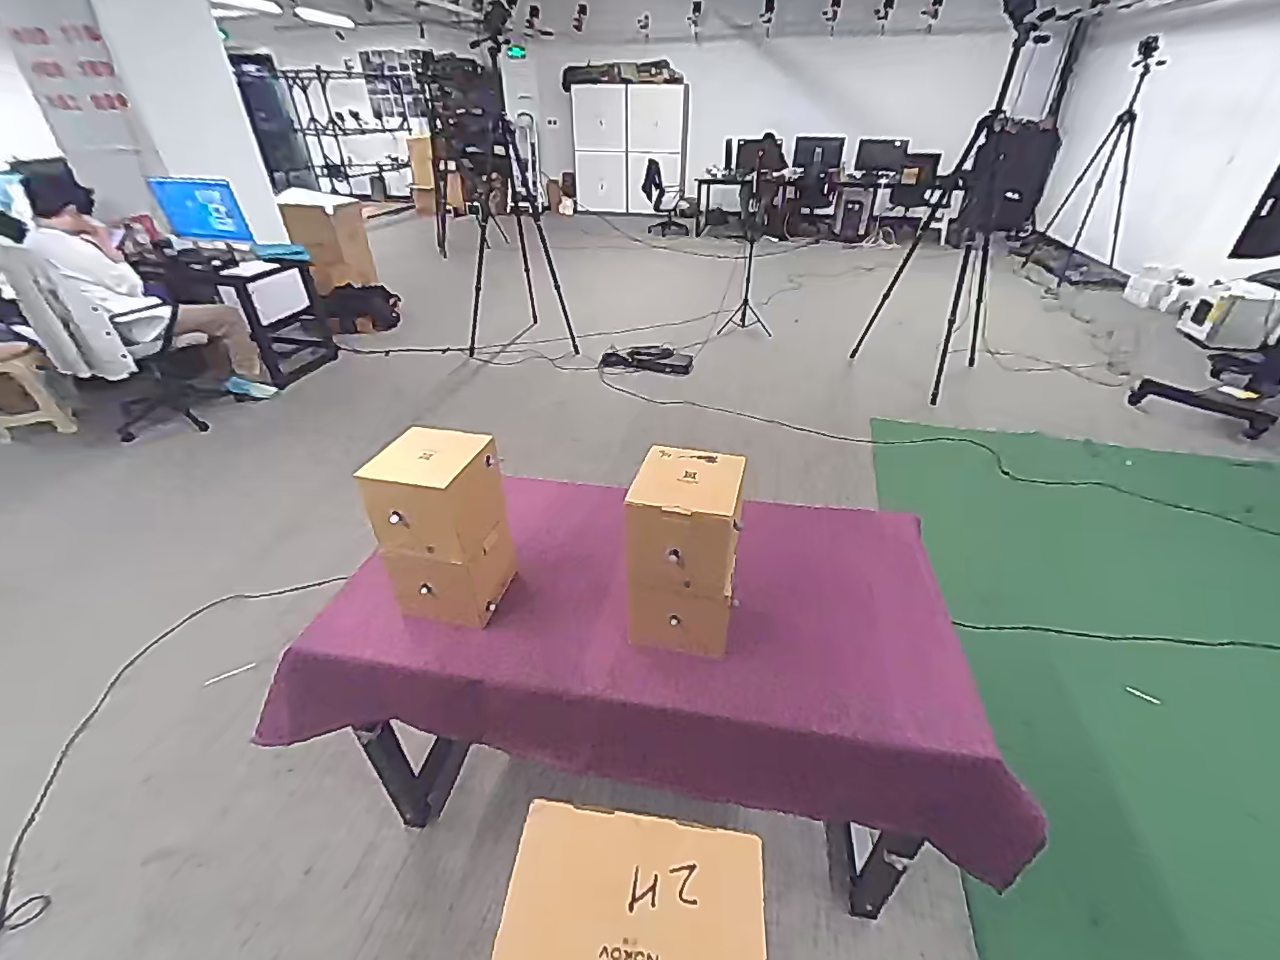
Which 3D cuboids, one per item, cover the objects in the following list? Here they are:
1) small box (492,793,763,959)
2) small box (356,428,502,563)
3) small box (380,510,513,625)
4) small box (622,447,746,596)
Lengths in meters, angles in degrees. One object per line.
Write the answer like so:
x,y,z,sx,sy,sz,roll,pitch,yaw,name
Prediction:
-0.012,0.353,0.375,0.168,0.176,0.179,8,41,3,small box
-0.361,0.026,0.968,0.168,0.176,0.179,7,34,11,small box
-0.364,0.161,1.057,0.179,0.176,0.168,6,34,10,small box
0.077,0.068,0.904,0.168,0.176,0.179,9,36,14,small box
